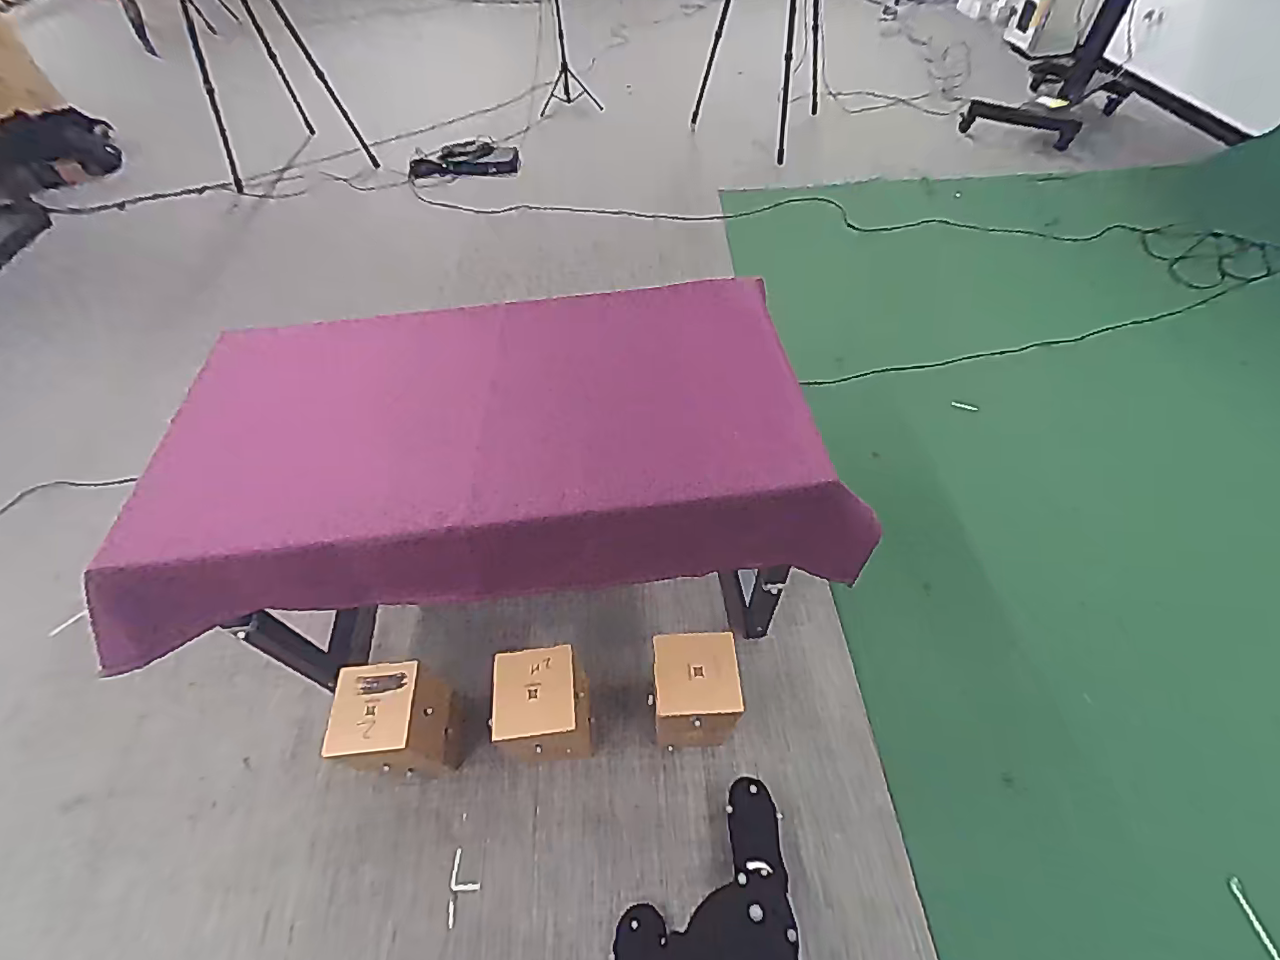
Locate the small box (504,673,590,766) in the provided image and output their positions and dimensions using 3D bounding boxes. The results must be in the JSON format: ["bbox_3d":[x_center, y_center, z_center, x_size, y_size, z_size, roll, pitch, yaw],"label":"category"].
[{"bbox_3d":[-0.219,0.584,1.312,0.179,0.176,0.168,-5,53,-2],"label":"small box"}]
